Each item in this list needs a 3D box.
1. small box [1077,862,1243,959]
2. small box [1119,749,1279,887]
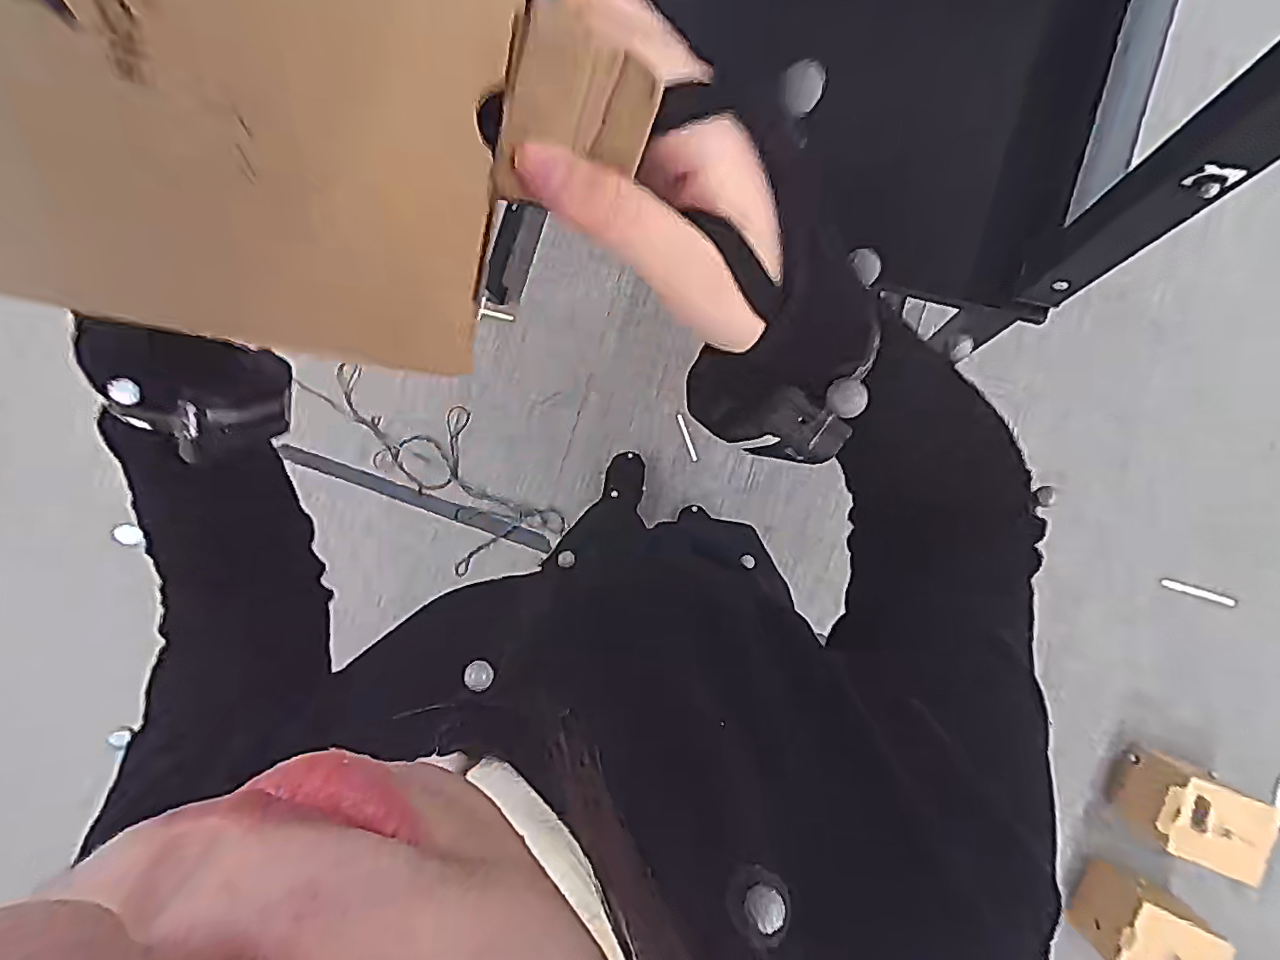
[{"bbox_3d":[1.115,0.984,1.178,0.179,0.176,0.168,23,91,10],"label":"small box"},{"bbox_3d":[1.209,0.717,1.176,0.179,0.176,0.168,19,90,10],"label":"small box"}]
